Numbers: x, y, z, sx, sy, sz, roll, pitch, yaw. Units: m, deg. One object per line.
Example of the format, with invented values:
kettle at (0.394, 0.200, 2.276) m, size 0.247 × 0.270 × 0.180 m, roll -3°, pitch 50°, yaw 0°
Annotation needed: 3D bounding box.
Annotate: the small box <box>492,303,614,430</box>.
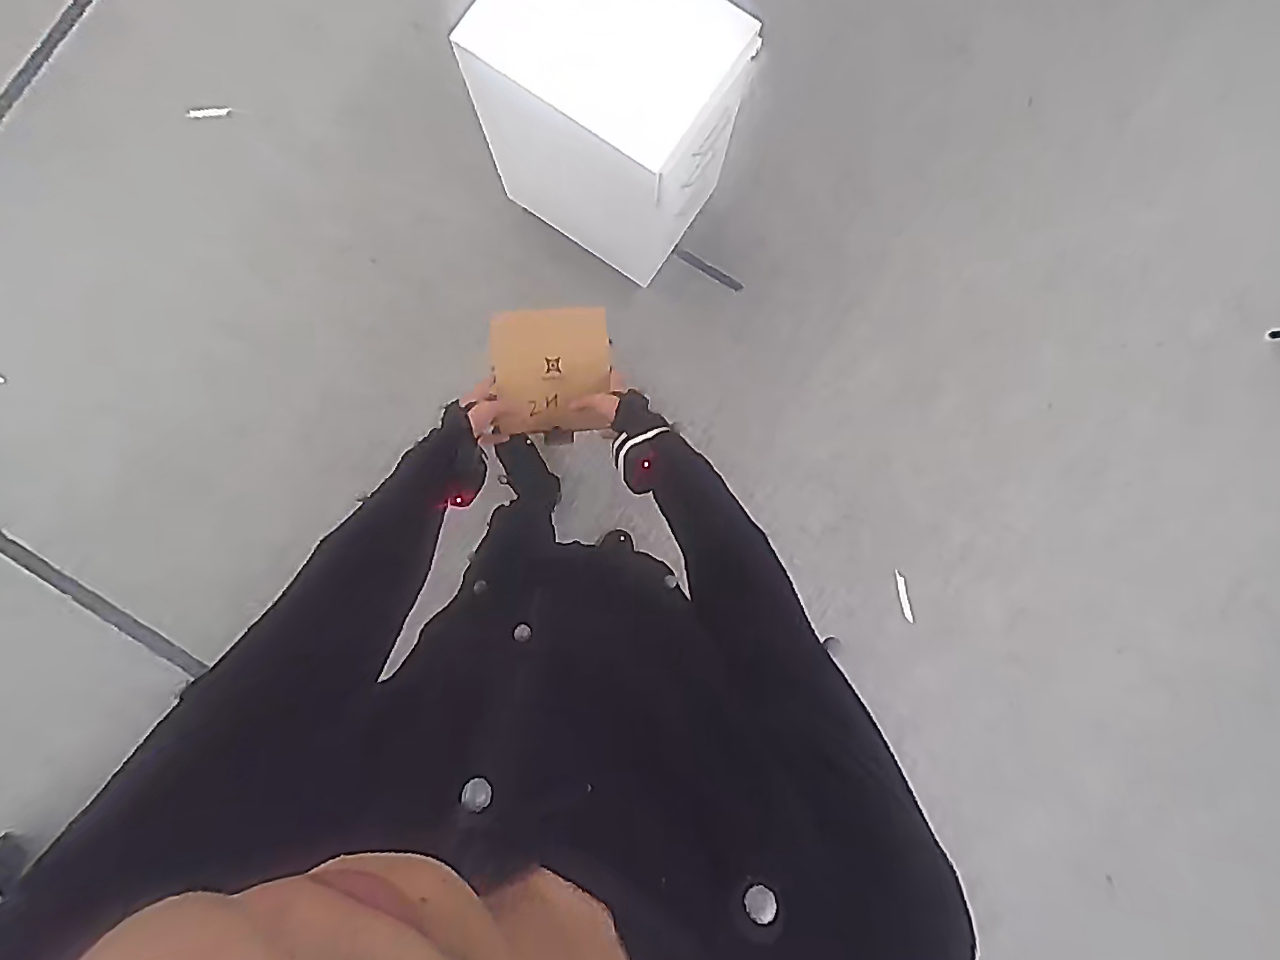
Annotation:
small box at (-0.127, -0.173, 0.848) m, size 0.168 × 0.176 × 0.179 m, roll -3°, pitch 100°, yaw -1°
